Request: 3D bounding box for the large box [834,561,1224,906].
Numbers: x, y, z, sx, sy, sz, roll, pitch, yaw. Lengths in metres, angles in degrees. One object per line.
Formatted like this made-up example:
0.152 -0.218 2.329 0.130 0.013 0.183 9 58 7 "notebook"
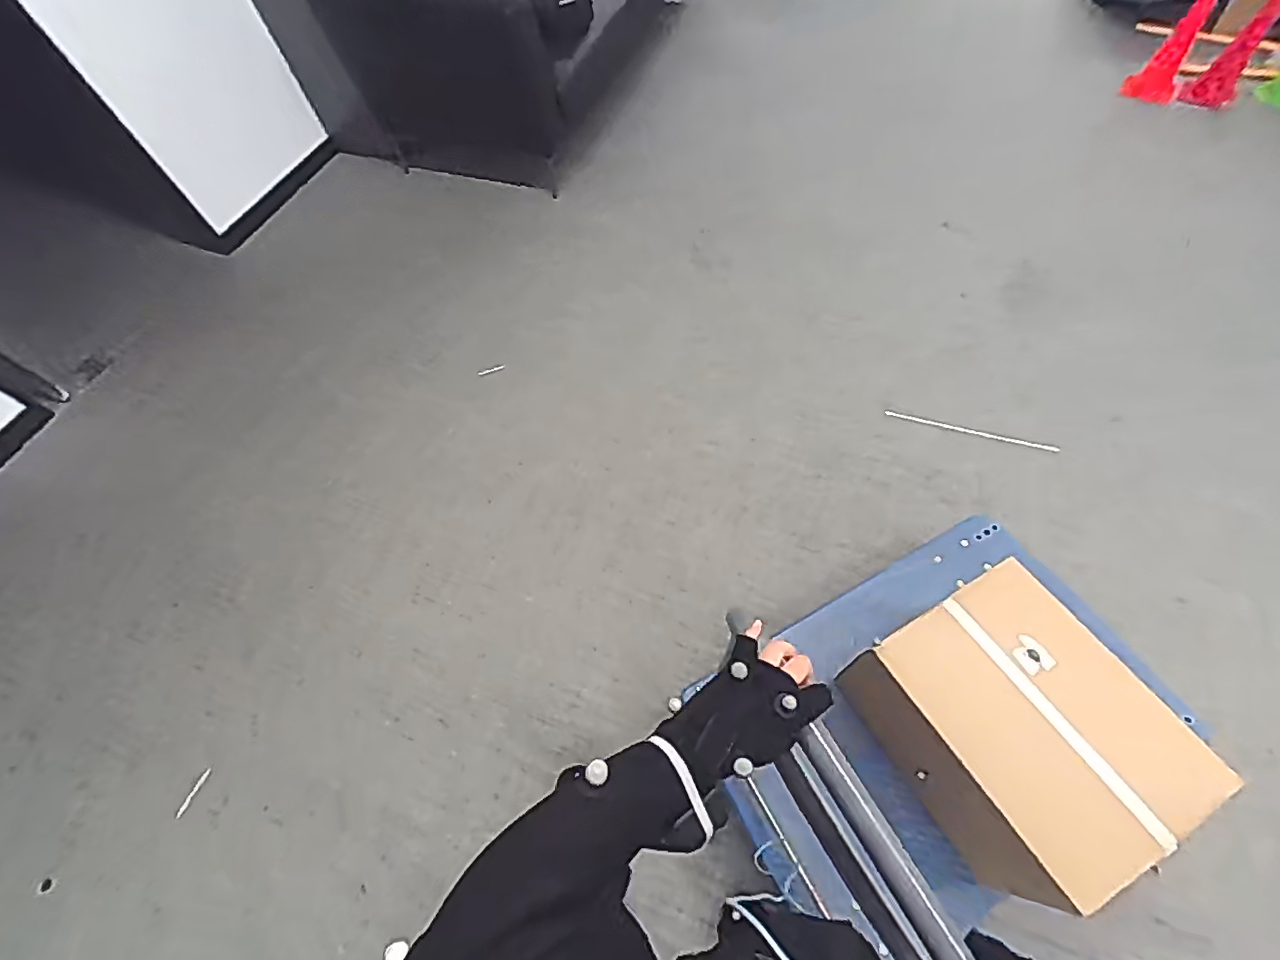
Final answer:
0.620 0.430 0.962 0.320 0.320 0.408 -28 59 -10 "large box"
